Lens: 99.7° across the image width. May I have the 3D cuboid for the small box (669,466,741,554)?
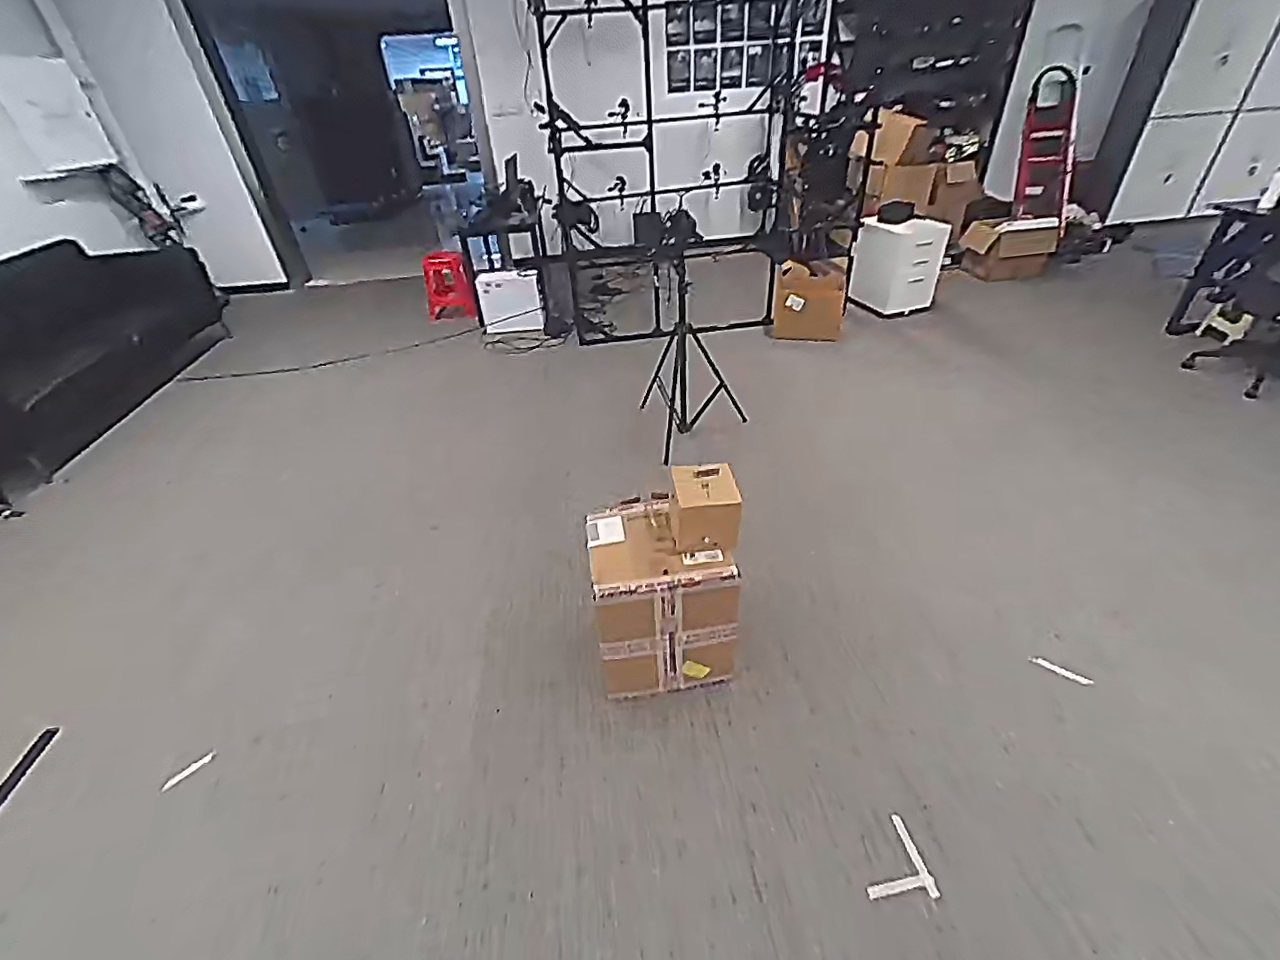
[{"bbox_3d":[0.172,0.083,1.491,0.168,0.176,0.179,-4,39,-4],"label":"small box"}]
